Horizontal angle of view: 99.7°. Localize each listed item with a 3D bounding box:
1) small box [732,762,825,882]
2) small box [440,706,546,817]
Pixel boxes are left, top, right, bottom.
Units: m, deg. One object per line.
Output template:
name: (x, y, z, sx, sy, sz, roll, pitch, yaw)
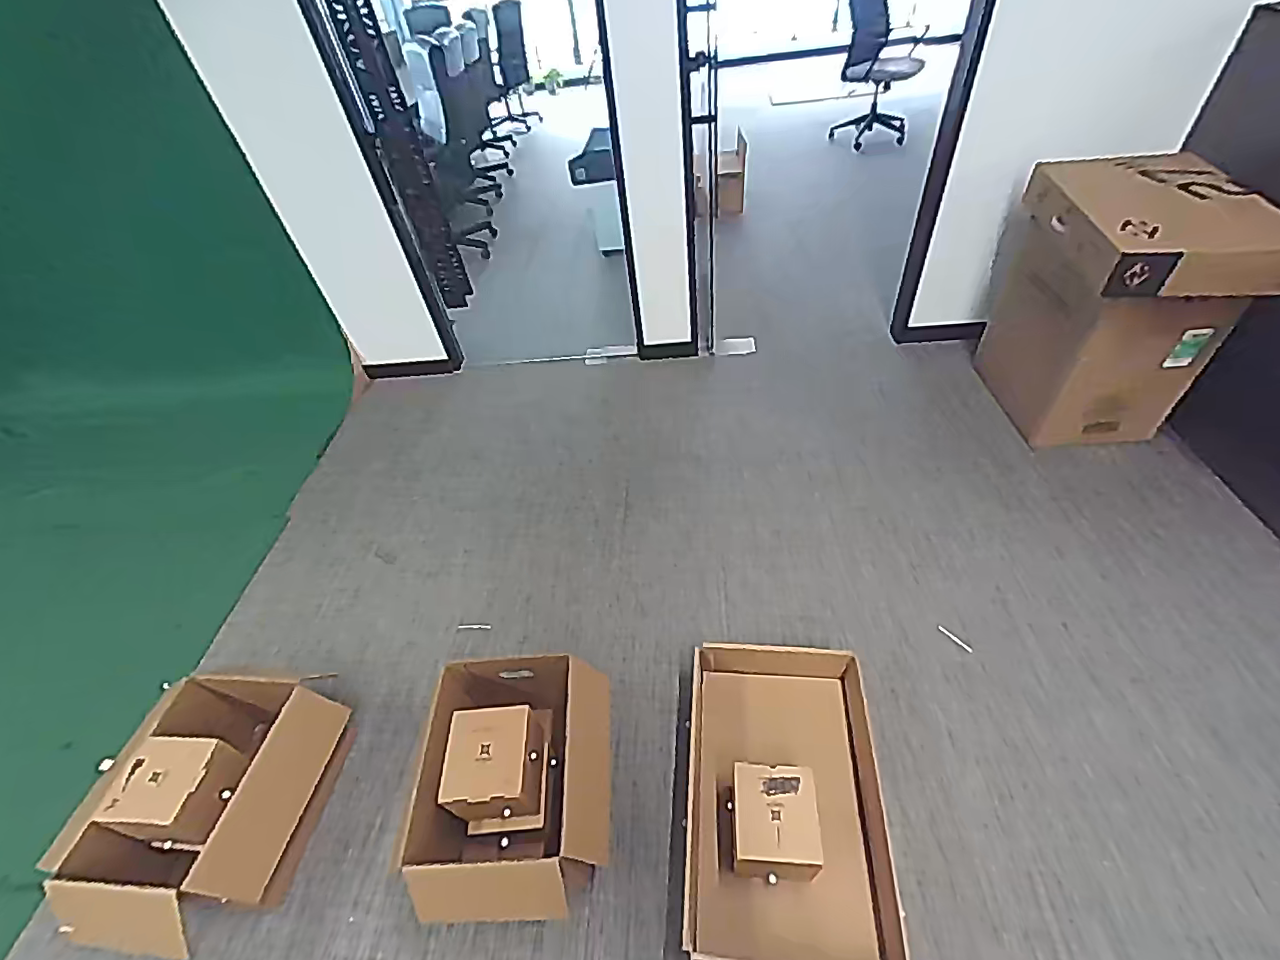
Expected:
small box: (0.283, 0.722, 1.141, 0.168, 0.176, 0.179, 0, 45, 7)
small box: (-0.302, 0.605, 1.153, 0.168, 0.176, 0.179, -5, 47, 2)
